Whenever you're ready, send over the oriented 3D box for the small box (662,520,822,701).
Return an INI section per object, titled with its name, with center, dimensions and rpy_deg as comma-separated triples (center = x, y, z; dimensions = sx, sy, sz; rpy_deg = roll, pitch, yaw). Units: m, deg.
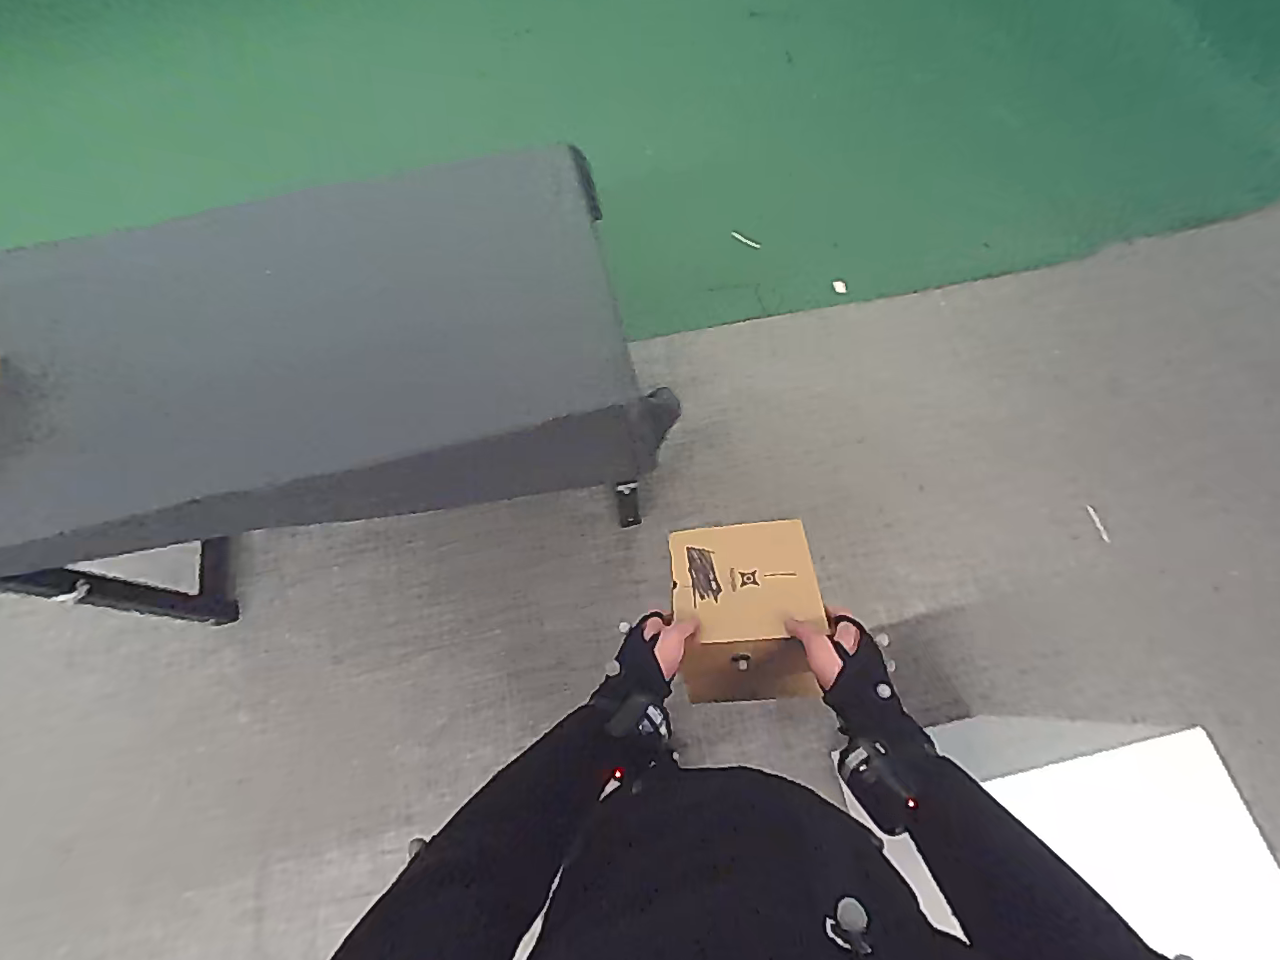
[small box]
center = 0.129, 0.175, 0.704
dimensions = 0.179, 0.176, 0.168
rpy_deg = -7, 46, 8
